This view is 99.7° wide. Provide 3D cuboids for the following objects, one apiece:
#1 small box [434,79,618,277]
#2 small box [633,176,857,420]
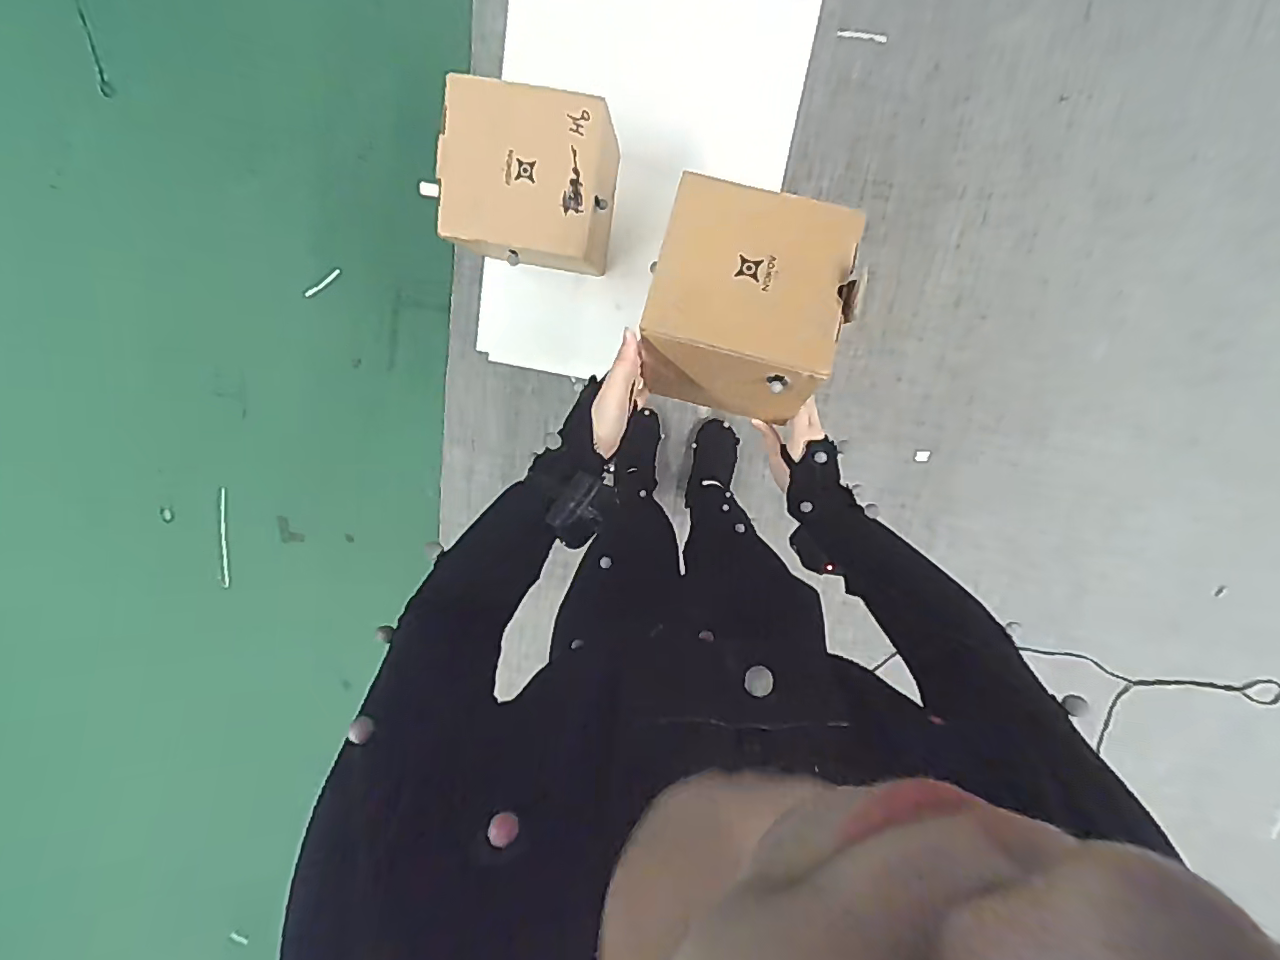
[{"bbox_3d":[-0.132,-0.358,0.673,0.179,0.176,0.168,10,105,1],"label":"small box"},{"bbox_3d":[0.098,-0.175,0.570,0.179,0.176,0.168,15,81,3],"label":"small box"}]
